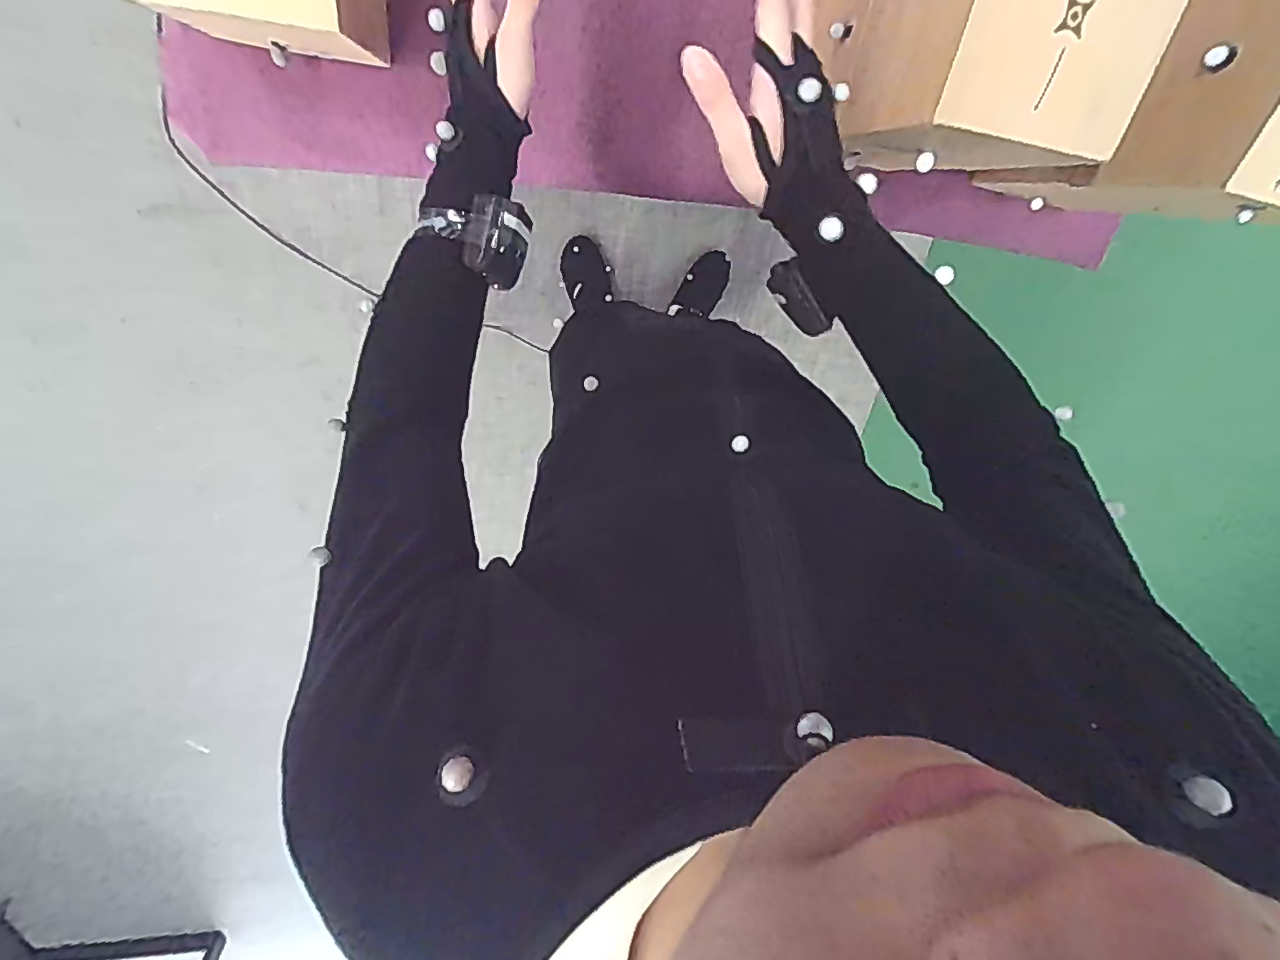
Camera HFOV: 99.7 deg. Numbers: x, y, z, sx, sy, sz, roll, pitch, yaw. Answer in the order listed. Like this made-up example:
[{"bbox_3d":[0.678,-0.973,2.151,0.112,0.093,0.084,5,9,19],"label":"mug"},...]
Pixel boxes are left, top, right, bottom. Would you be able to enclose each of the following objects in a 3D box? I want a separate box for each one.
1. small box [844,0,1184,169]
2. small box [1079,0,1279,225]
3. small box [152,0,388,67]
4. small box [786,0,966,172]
[{"bbox_3d":[0.300,-0.377,0.454,0.168,0.176,0.179,5,118,-11],"label":"small box"},{"bbox_3d":[0.576,-0.350,0.505,0.168,0.176,0.179,7,117,-11],"label":"small box"},{"bbox_3d":[-0.337,-0.499,0.477,0.168,0.176,0.179,3,118,-10],"label":"small box"},{"bbox_3d":[0.278,-0.452,0.597,0.168,0.176,0.179,4,116,-10],"label":"small box"}]
